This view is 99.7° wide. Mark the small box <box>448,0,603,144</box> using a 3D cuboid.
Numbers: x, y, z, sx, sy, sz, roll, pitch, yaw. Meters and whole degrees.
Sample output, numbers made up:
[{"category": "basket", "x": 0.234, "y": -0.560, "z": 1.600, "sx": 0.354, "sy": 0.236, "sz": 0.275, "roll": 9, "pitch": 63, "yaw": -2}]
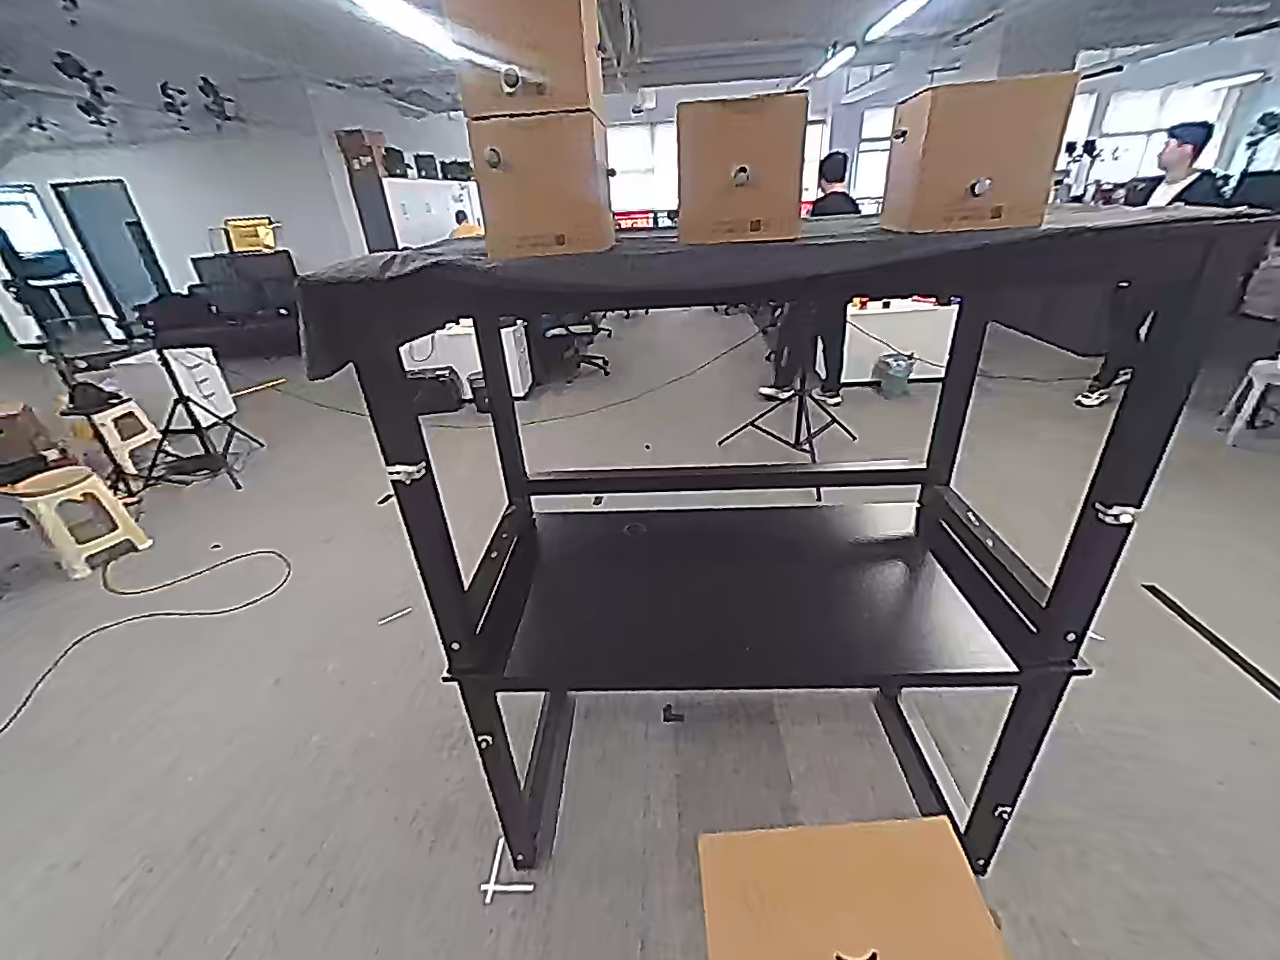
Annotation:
[{"category": "small box", "x": -0.143, "y": -0.559, "z": 0.725, "sx": 0.168, "sy": 0.176, "sz": 0.179, "roll": -3, "pitch": 27, "yaw": 4}]

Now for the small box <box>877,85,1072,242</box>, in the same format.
[{"category": "small box", "x": 0.445, "y": -0.430, "z": 0.757, "sx": 0.168, "sy": 0.176, "sz": 0.179, "roll": 1, "pitch": 28, "yaw": 9}]

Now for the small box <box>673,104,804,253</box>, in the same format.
[{"category": "small box", "x": 0.132, "y": -0.423, "z": 0.781, "sx": 0.168, "sy": 0.176, "sz": 0.179, "roll": -1, "pitch": 26, "yaw": 3}]

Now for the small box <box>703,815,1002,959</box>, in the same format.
[{"category": "small box", "x": 0.132, "y": 0.346, "z": 0.344, "sx": 0.168, "sy": 0.176, "sz": 0.179, "roll": -7, "pitch": 36, "yaw": 5}]
